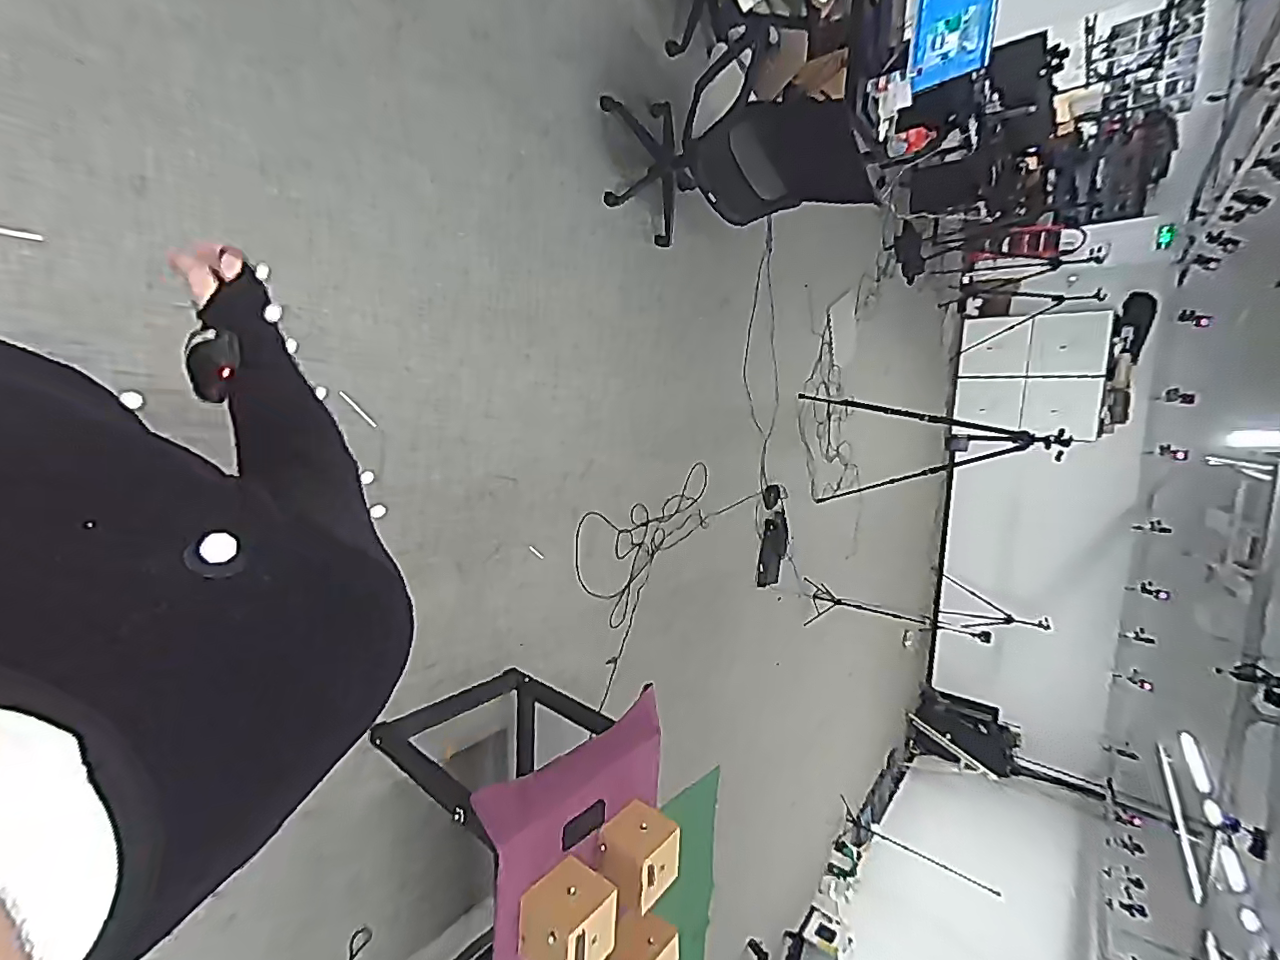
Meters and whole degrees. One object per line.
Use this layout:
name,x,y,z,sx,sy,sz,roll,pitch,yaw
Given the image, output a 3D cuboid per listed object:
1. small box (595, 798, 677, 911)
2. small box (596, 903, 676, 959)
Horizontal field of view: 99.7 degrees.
small box,-0.014,1.065,1.552,0.179,0.176,0.168,-7,102,-51
small box,-0.014,1.424,1.619,0.179,0.176,0.168,-6,101,-50
